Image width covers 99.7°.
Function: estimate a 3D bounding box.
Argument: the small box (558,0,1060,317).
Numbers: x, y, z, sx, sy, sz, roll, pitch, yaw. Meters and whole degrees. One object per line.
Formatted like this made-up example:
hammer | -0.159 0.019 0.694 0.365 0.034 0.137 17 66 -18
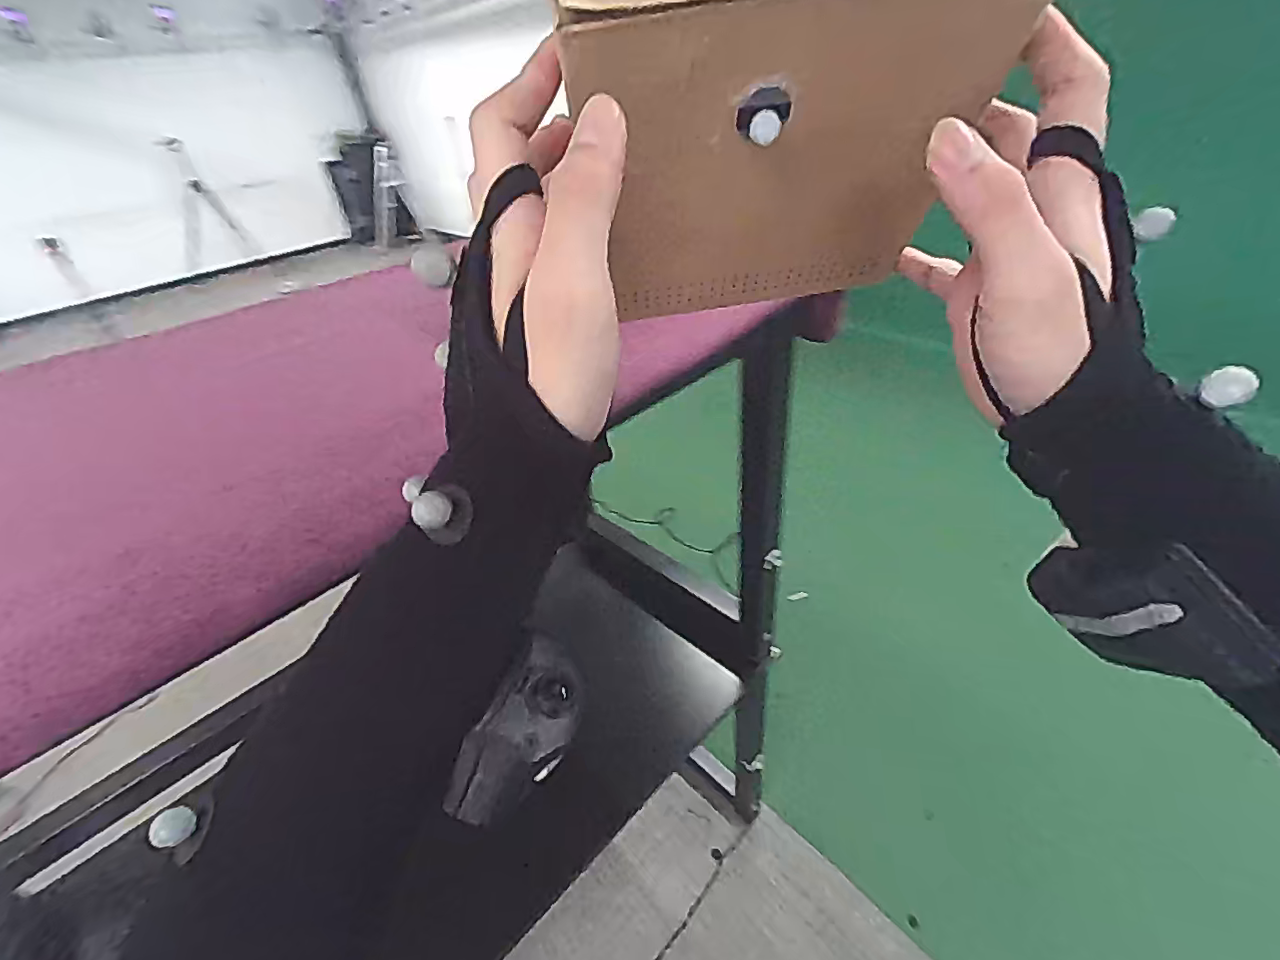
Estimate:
small box | 0.056 -0.203 0.275 0.179 0.176 0.168 -7 72 0
